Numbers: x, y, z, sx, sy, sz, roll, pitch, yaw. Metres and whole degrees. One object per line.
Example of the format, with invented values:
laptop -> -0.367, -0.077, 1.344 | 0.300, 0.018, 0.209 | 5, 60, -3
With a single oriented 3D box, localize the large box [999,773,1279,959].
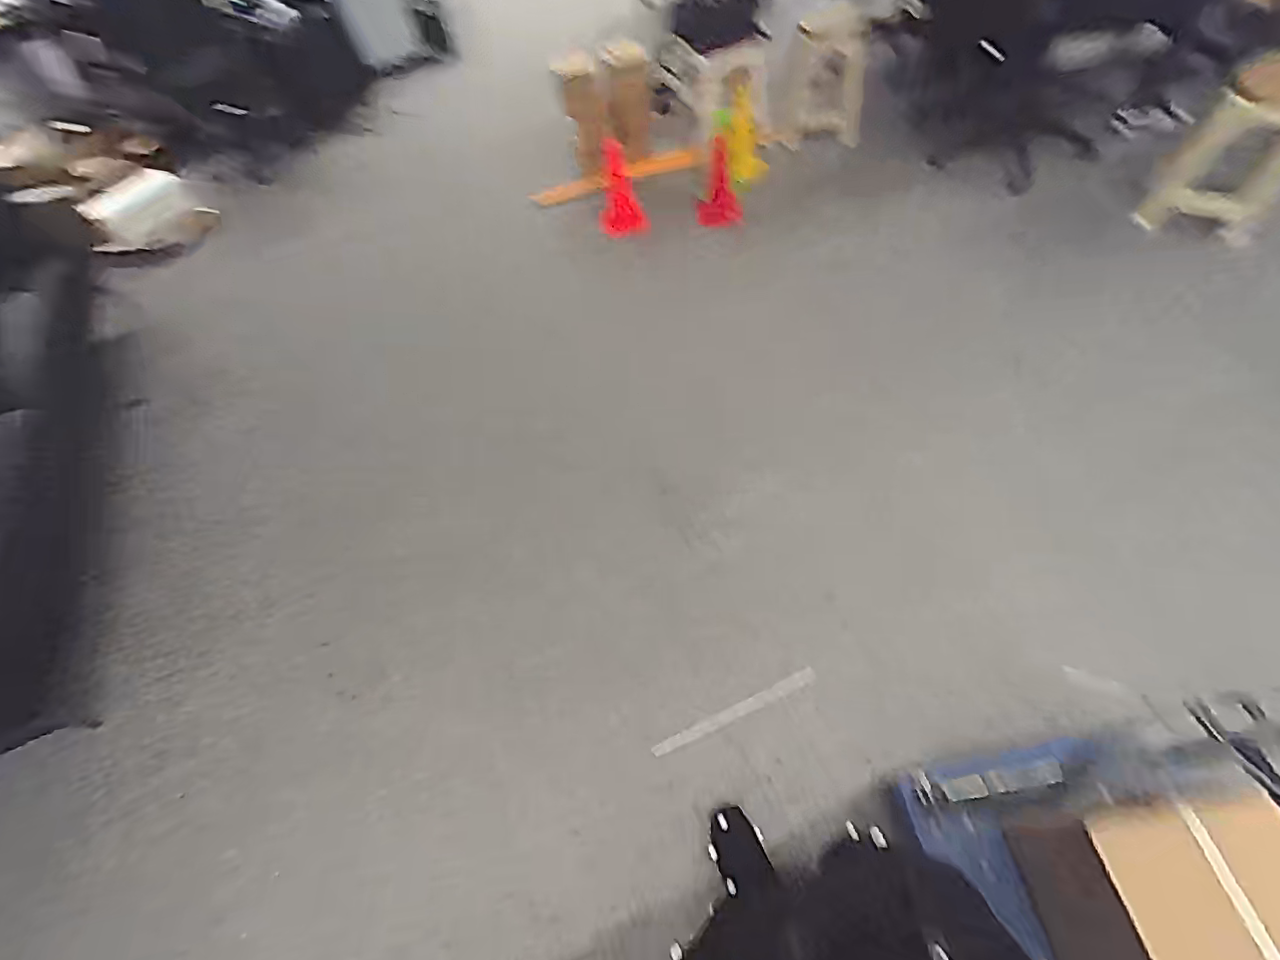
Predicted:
large box -> 0.906, 0.742, 0.895 | 0.320, 0.320, 0.408 | -12, 60, 1
